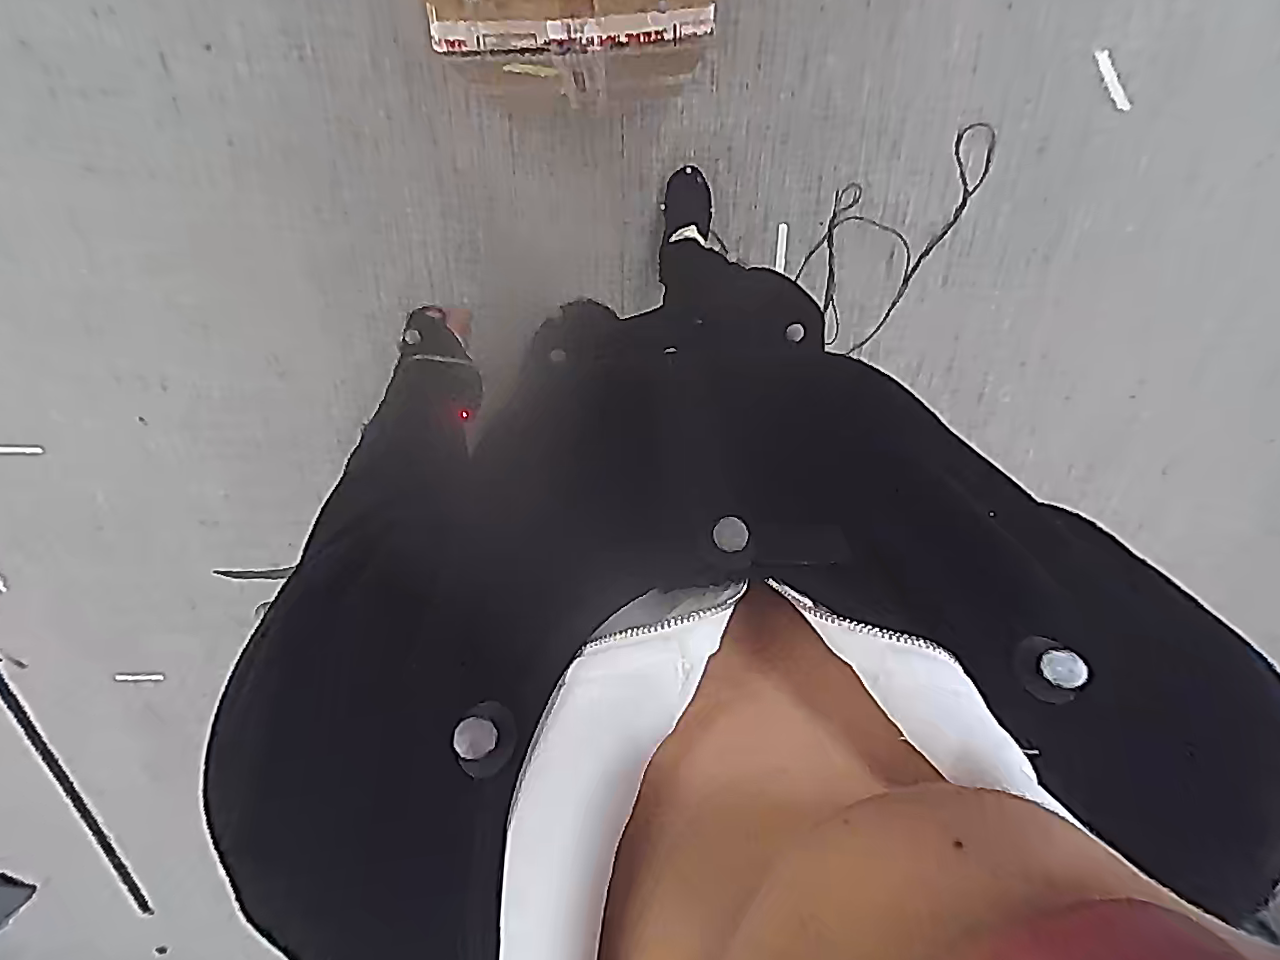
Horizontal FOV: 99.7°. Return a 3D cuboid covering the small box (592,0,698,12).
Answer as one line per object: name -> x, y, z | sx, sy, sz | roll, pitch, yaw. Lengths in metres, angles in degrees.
small box -> 0.019, -0.678, 0.628 | 0.179, 0.176, 0.168 | -8, 118, 0

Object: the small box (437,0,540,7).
small box -> -0.203, -0.680, 0.616 | 0.168, 0.176, 0.179 | -3, 119, 1
